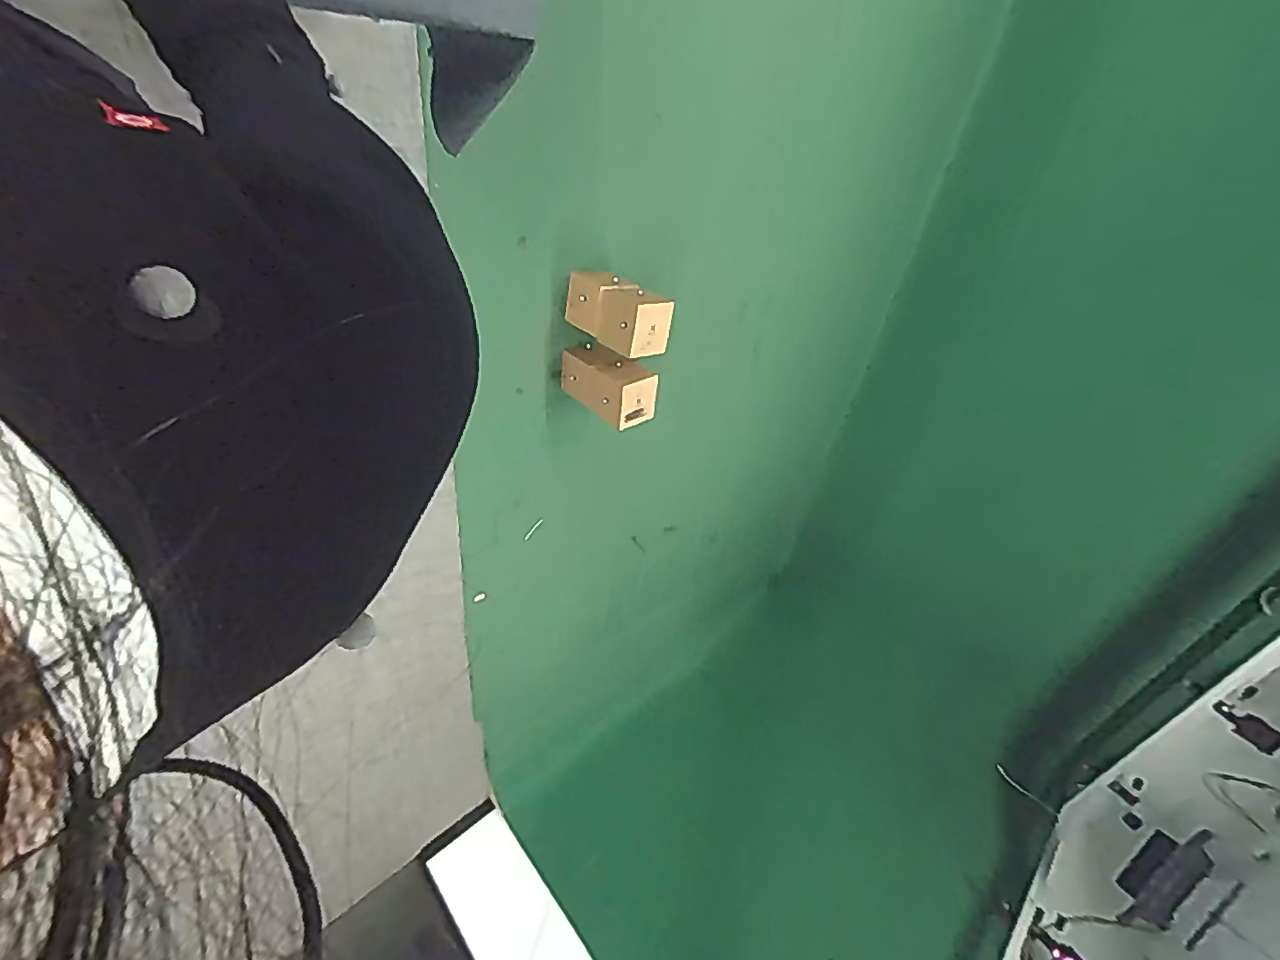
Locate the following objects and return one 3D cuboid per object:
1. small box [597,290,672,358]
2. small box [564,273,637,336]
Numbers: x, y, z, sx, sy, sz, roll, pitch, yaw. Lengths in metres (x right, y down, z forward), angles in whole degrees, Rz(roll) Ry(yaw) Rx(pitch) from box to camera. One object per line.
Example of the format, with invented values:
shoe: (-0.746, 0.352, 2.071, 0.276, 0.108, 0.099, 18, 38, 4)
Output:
small box: (-0.023, -0.517, 1.771, 0.168, 0.176, 0.179, -20, 134, -40)
small box: (-0.141, -0.602, 1.850, 0.179, 0.176, 0.168, -19, 133, -41)
